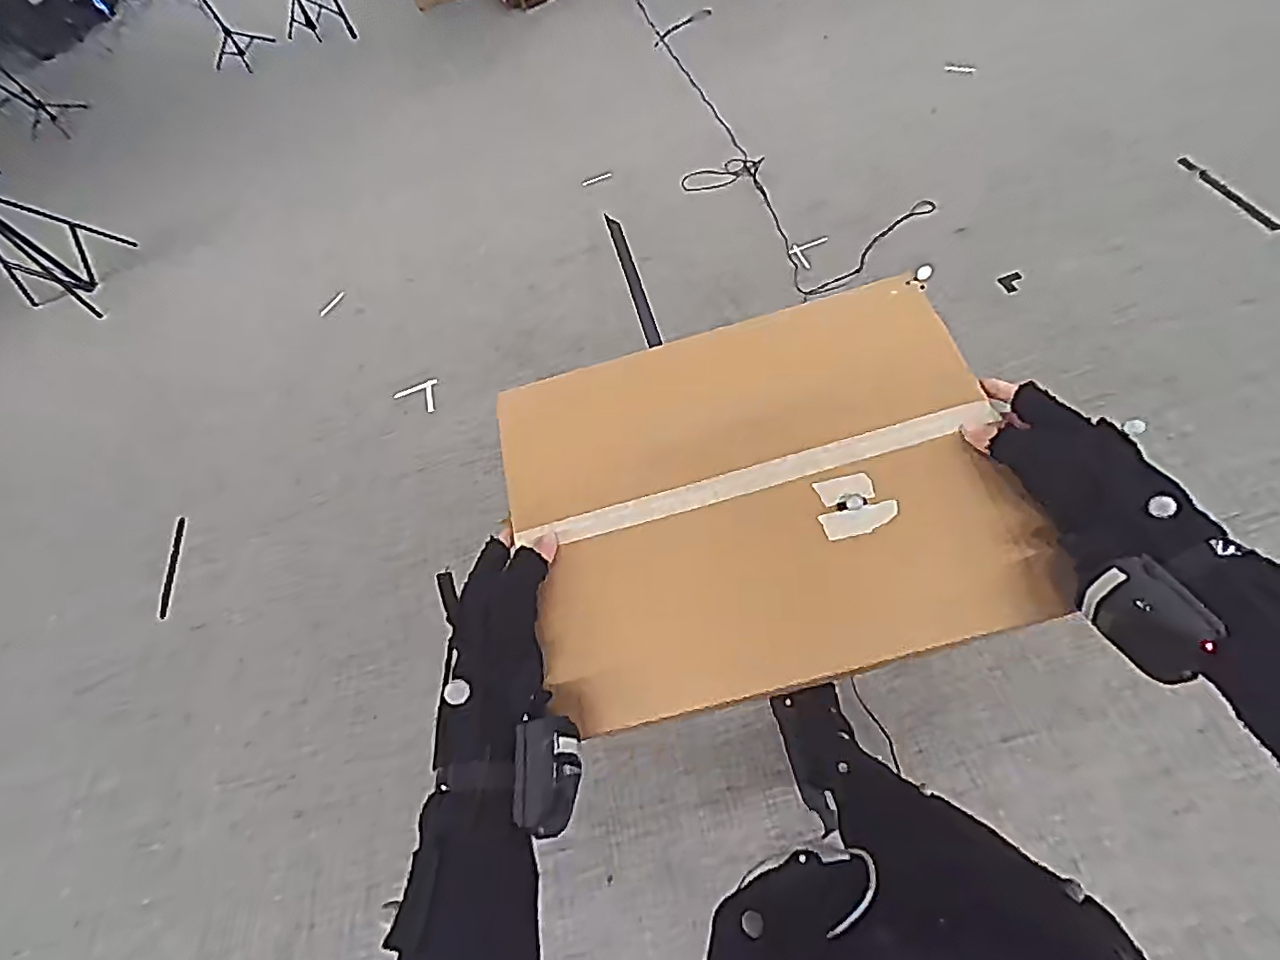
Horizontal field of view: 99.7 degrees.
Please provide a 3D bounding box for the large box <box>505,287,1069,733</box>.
[{"bbox_3d":[0.112,0.061,0.598,0.408,0.320,0.320,-16,66,2],"label":"large box"}]
